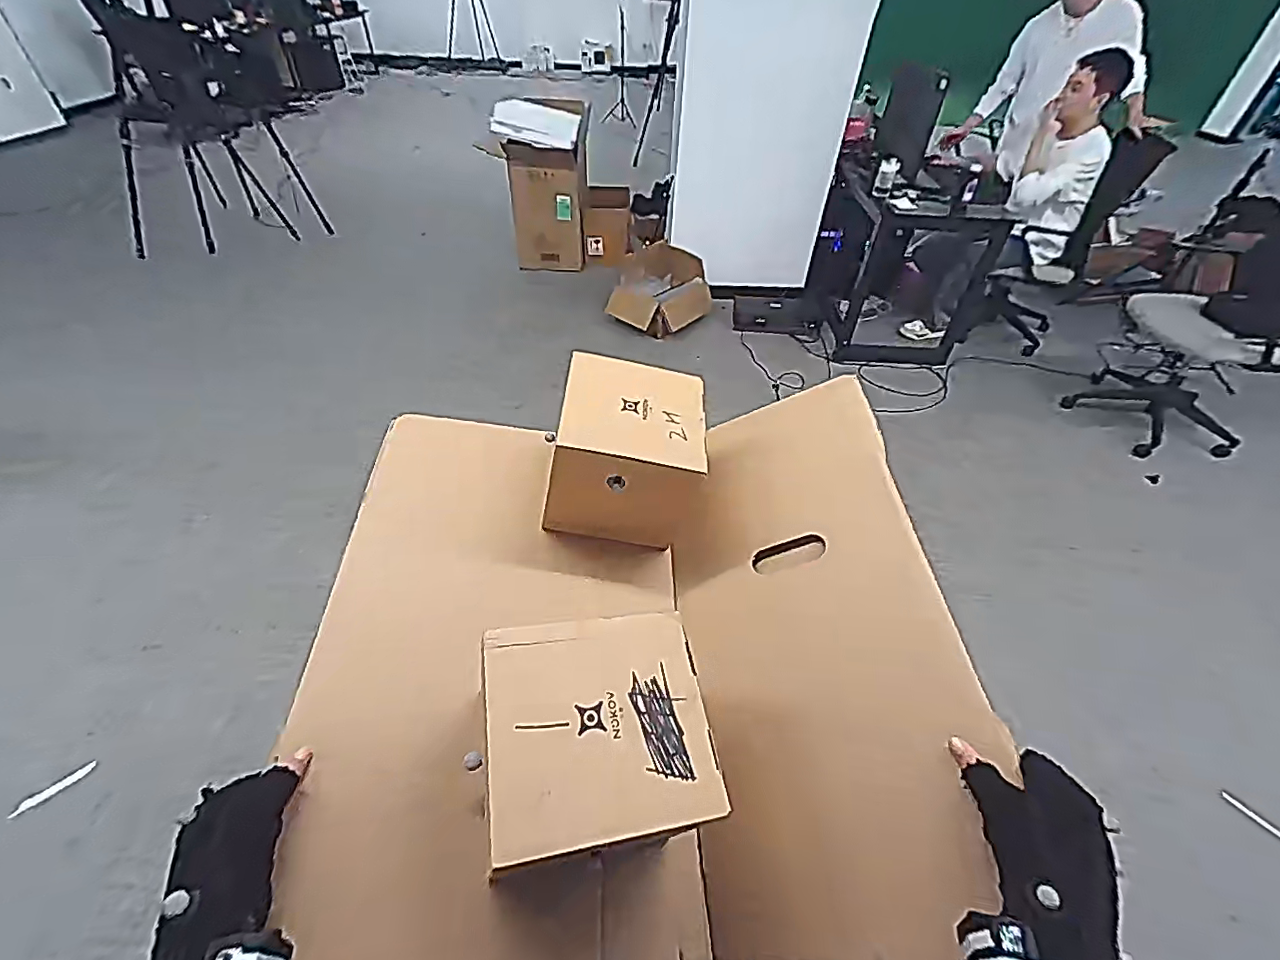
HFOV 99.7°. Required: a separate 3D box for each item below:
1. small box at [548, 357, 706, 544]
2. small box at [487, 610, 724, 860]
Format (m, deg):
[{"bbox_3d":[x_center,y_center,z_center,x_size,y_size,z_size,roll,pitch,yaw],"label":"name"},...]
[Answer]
[{"bbox_3d":[-0.020,-0.033,0.725,0.179,0.176,0.168,12,50,-9],"label":"small box"},{"bbox_3d":[-0.048,0.235,0.502,0.179,0.176,0.168,-1,53,-17],"label":"small box"}]
